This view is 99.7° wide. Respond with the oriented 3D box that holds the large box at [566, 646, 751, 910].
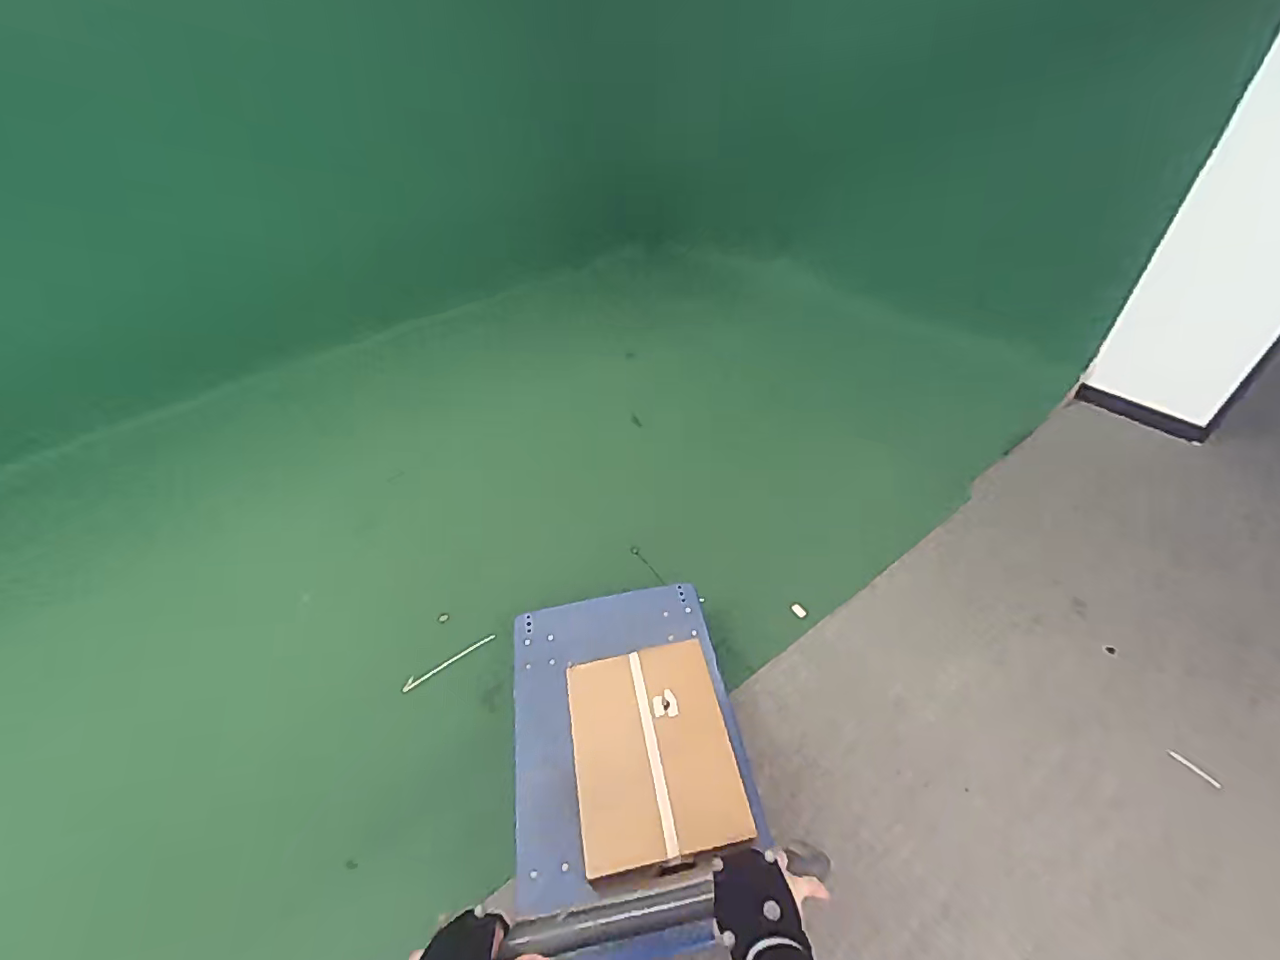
[{"bbox_3d":[0.032,0.656,1.212,0.320,0.320,0.408,-11,43,-5],"label":"large box"}]
